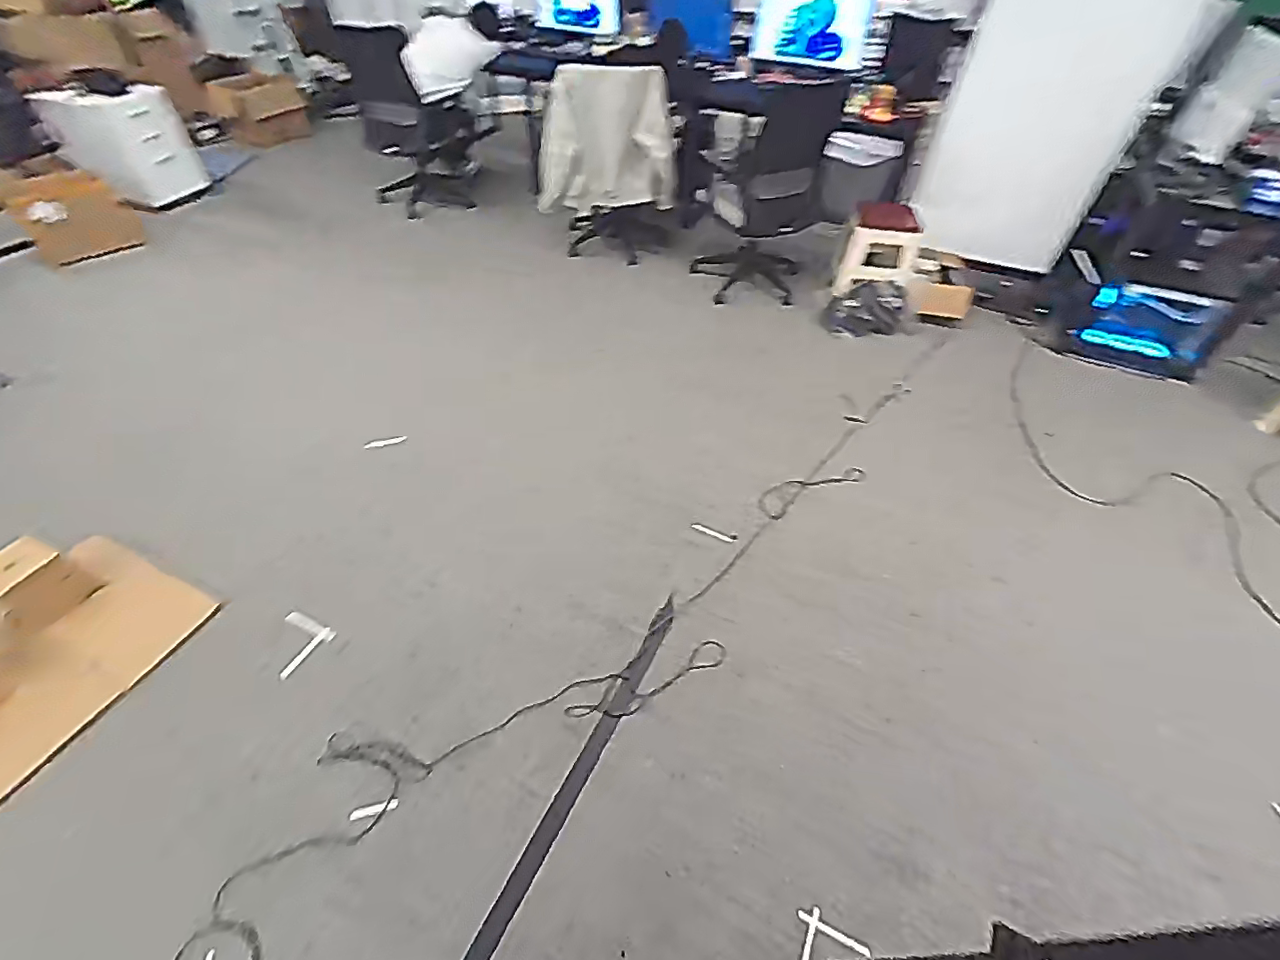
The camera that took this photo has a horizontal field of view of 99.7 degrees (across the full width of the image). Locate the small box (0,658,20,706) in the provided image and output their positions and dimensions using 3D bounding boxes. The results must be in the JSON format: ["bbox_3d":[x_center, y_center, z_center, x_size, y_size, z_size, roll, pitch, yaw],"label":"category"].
[{"bbox_3d":[-1.766,0.528,1.368,0.168,0.176,0.179,28,54,22],"label":"small box"}]

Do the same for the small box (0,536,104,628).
[{"bbox_3d":[-1.746,0.299,1.584,0.168,0.176,0.179,16,49,14],"label":"small box"}]
